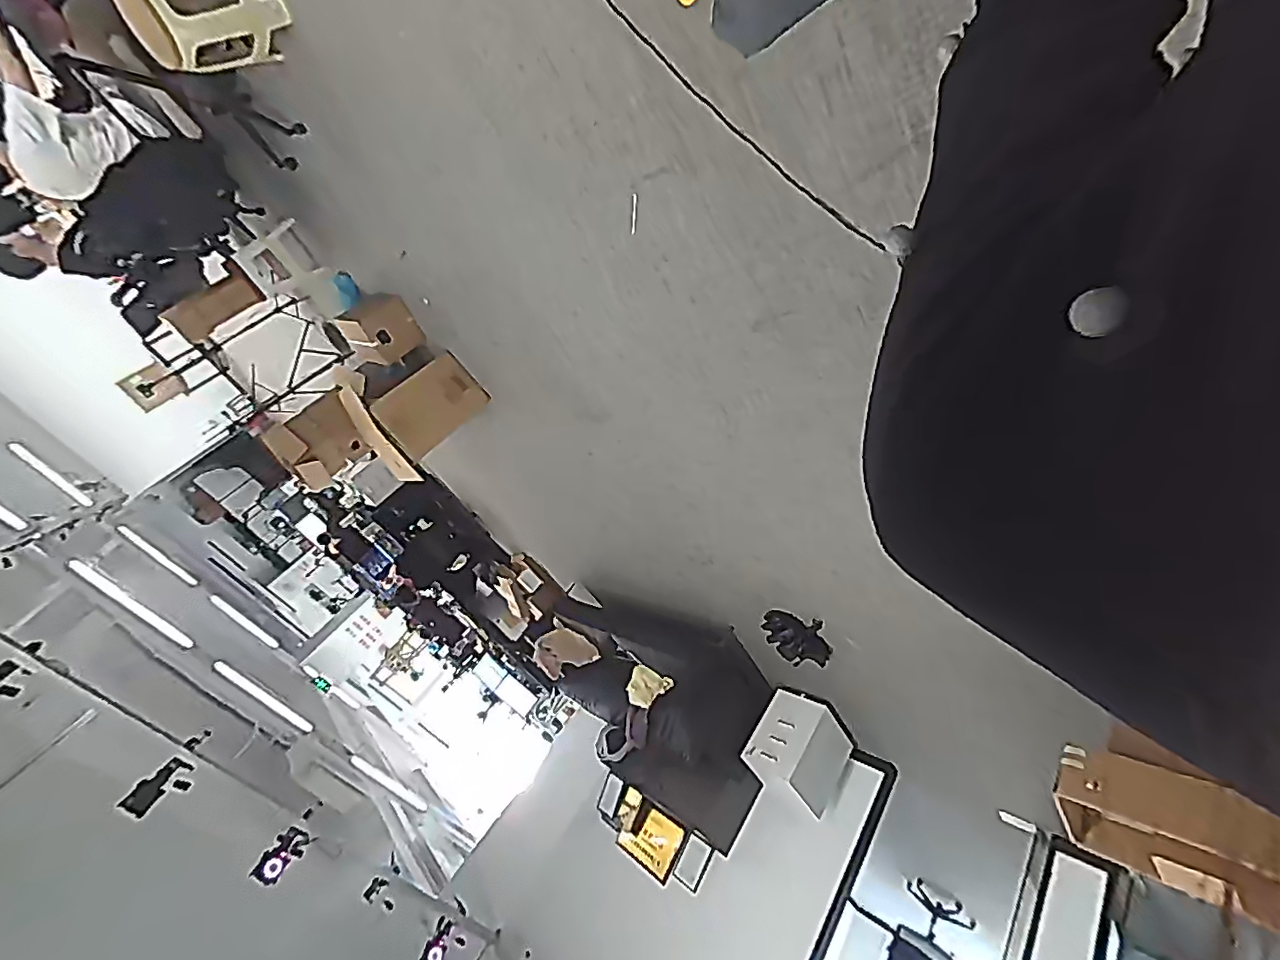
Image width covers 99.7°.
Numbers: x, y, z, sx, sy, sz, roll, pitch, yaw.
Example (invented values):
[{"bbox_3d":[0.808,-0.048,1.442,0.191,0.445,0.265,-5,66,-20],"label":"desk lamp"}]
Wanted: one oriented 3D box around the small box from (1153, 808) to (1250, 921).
[{"bbox_3d":[1.593,1.081,1.532,0.168,0.176,0.179,-5,128,53],"label":"small box"}]
